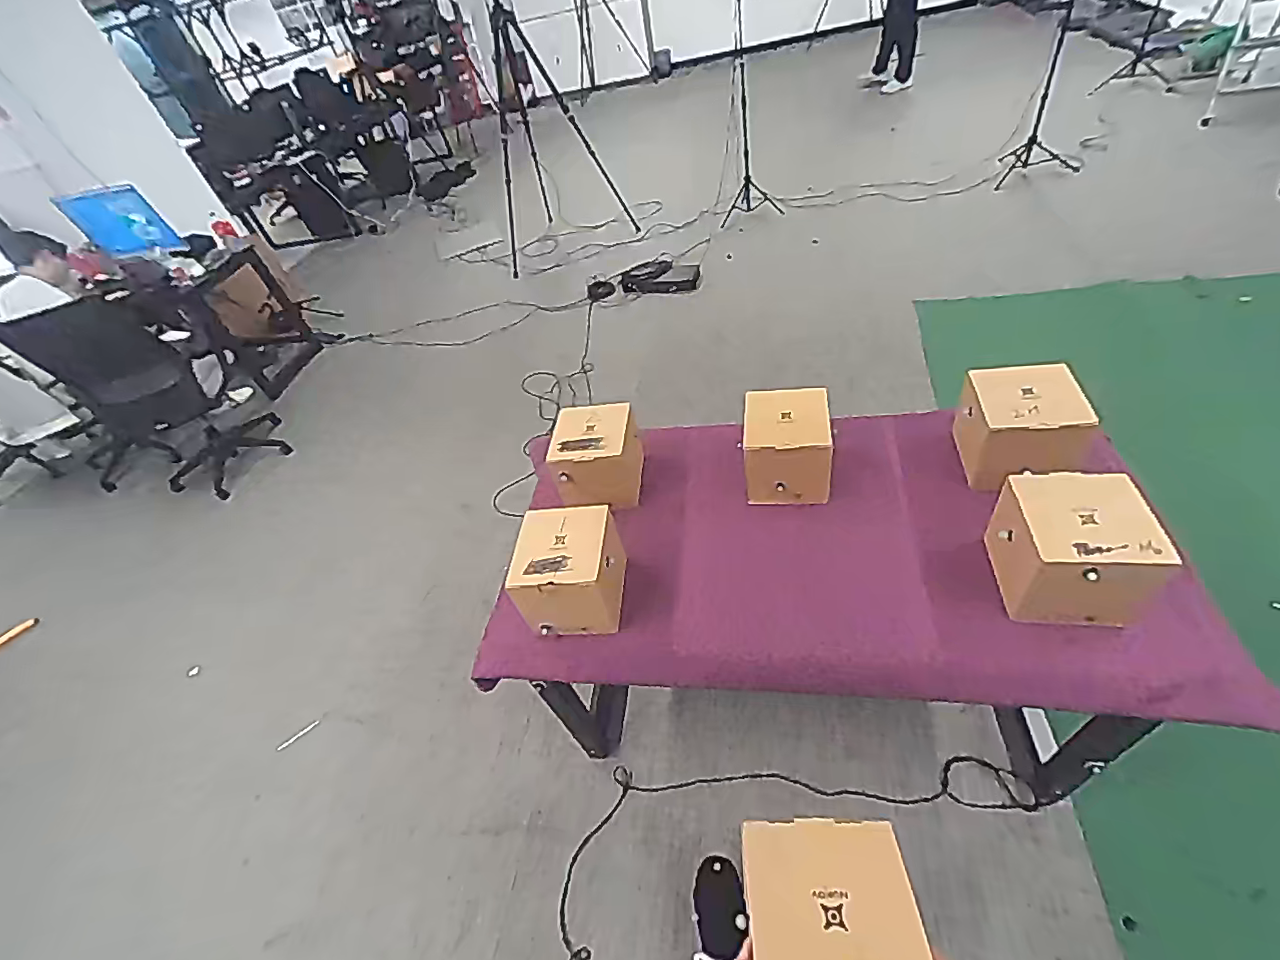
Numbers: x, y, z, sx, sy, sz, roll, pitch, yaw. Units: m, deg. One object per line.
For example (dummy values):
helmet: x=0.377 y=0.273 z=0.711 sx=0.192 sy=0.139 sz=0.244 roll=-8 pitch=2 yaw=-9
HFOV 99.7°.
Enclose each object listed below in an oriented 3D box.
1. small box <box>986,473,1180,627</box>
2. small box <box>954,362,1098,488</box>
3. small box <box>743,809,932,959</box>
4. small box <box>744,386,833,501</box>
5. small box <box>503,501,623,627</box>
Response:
small box: x=0.674 y=0.108 z=0.855 sx=0.168 sy=0.176 sz=0.179 roll=-1 pitch=45 yaw=15
small box: x=0.724 y=-0.103 z=1.041 sx=0.168 sy=0.176 sz=0.179 roll=-2 pitch=48 yaw=16
small box: x=0.199 y=0.488 z=0.580 sx=0.168 sy=0.176 sz=0.179 roll=-4 pitch=32 yaw=7
small box: x=0.305 y=-0.076 z=1.130 sx=0.168 sy=0.176 sz=0.179 roll=-1 pitch=48 yaw=14
small box: x=-0.131 y=0.162 z=1.010 sx=0.168 sy=0.176 sz=0.179 roll=-4 pitch=45 yaw=10
